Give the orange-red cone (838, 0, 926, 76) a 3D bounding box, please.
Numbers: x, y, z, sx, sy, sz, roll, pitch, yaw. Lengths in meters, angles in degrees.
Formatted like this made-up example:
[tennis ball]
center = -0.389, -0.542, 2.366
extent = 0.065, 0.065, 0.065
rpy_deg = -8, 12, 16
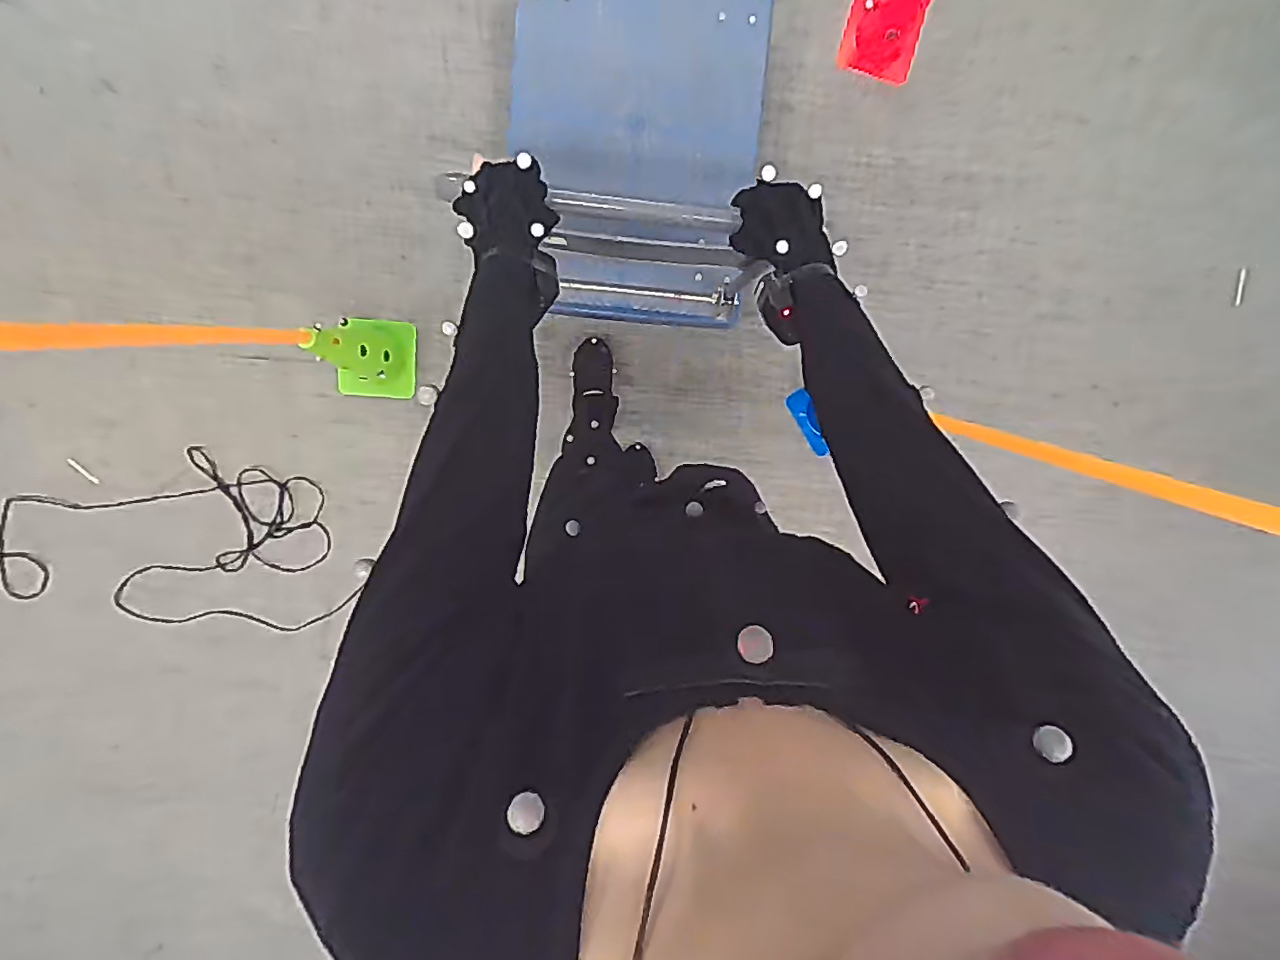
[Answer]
[orange-red cone]
center = 0.638, -1.155, 1.238
extent = 0.198, 0.360, 0.199
rpy_deg = 15, 96, -4
